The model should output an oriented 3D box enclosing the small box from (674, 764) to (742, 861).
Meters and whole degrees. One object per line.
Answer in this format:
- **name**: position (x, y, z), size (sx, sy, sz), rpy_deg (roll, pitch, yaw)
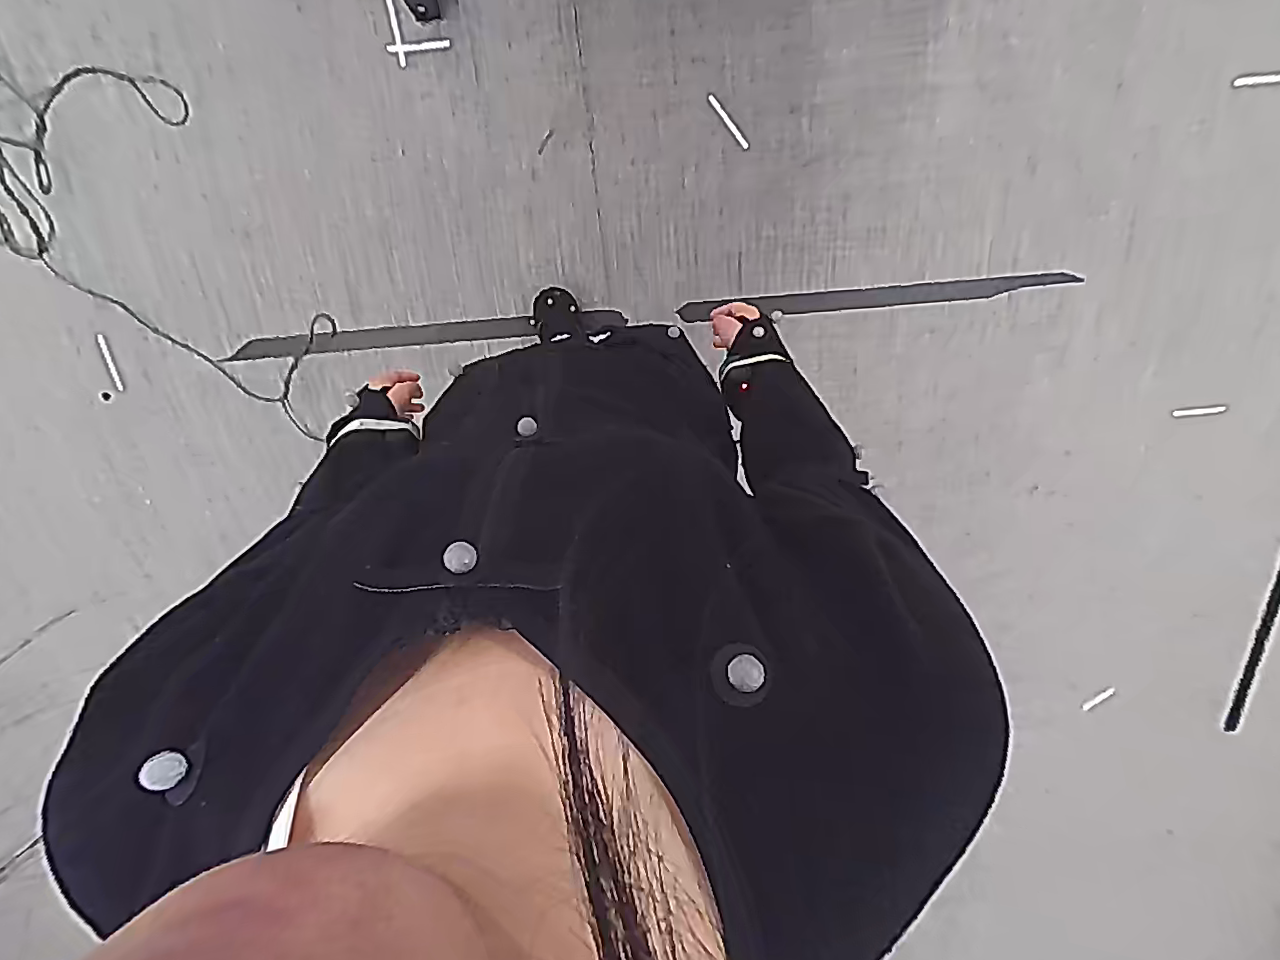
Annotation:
- **small box**: position (0.201, 0.992, 1.618), size (0.168, 0.176, 0.179), rpy_deg (-11, 110, 1)
